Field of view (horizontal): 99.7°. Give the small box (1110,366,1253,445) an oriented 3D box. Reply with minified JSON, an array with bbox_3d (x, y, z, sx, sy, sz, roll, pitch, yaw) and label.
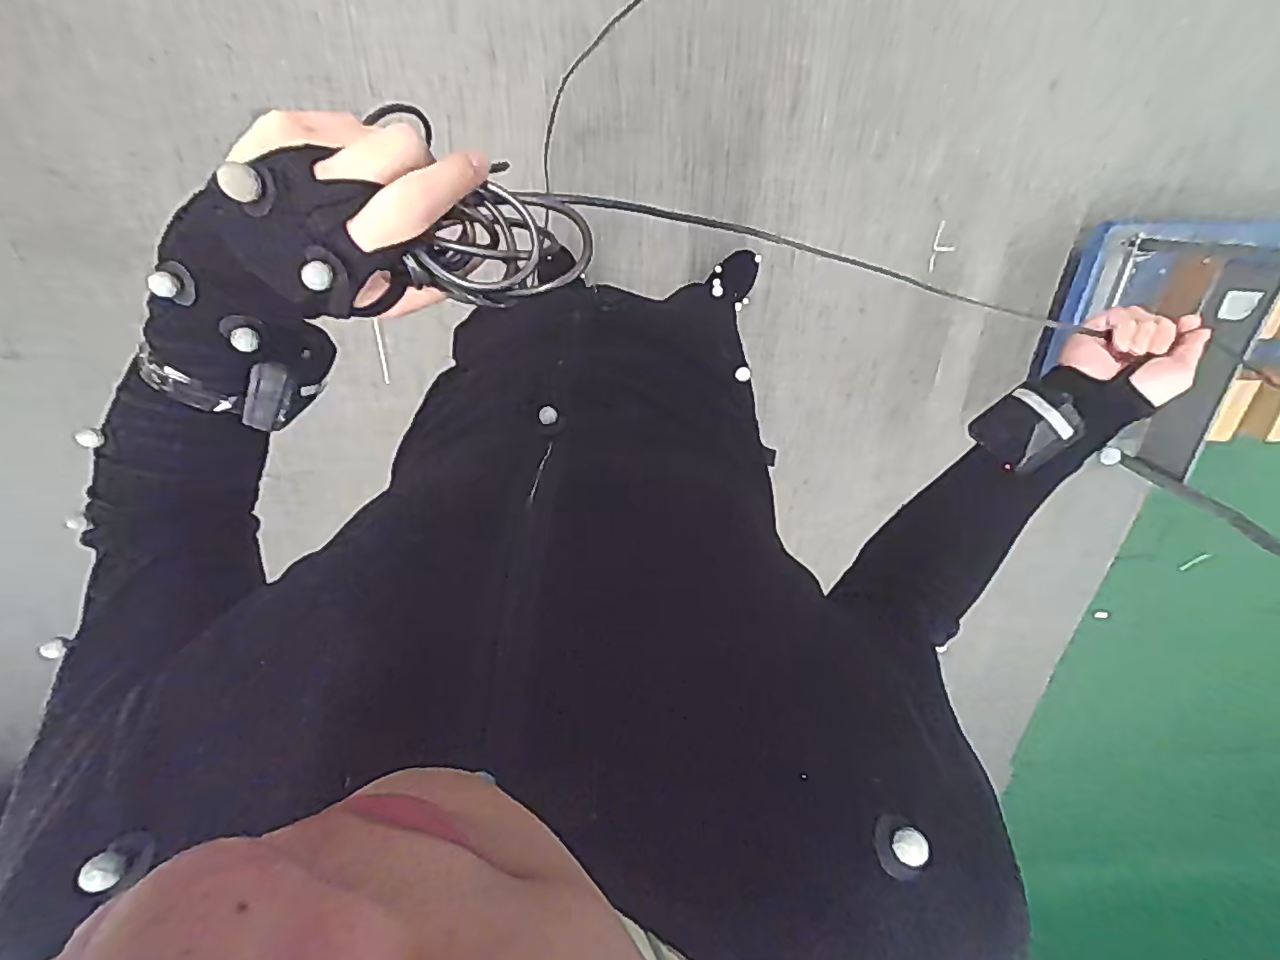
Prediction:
[{"bbox_3d":[1.434,-0.203,1.446,0.179,0.176,0.168,1,117,-3],"label":"small box"}]

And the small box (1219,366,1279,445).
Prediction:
[{"bbox_3d":[1.703,-0.205,1.463,0.179,0.176,0.168,-3,116,-1],"label":"small box"}]

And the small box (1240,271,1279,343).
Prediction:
[{"bbox_3d":[1.690,-0.430,1.349,0.179,0.176,0.168,-4,118,-2],"label":"small box"}]
